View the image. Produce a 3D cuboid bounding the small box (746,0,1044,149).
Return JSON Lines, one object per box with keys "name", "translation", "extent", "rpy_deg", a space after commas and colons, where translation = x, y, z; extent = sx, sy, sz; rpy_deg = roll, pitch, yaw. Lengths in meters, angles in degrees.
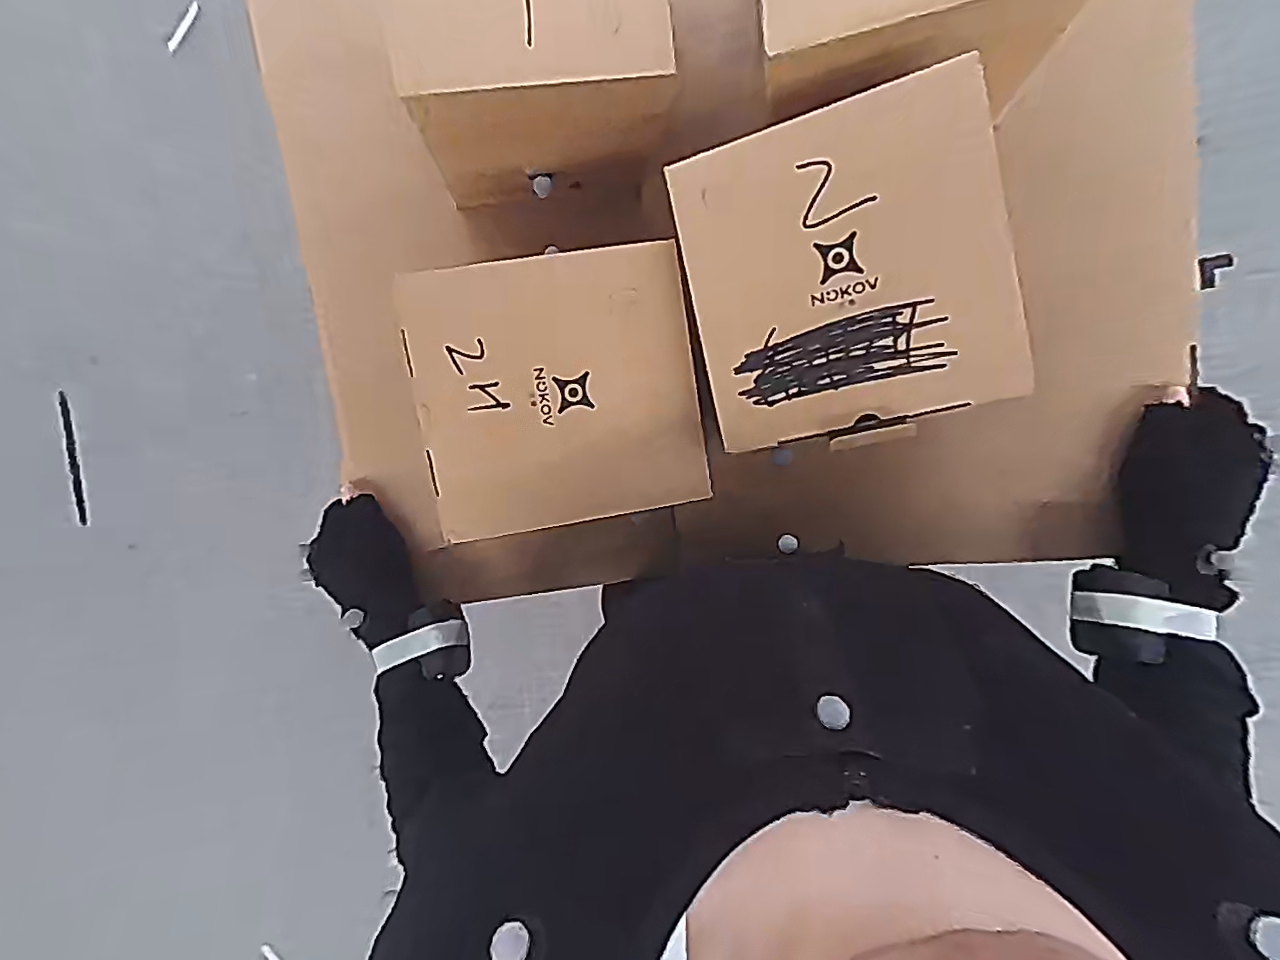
{"name": "small box", "translation": [0.151, -0.341, 0.340], "extent": [0.168, 0.176, 0.179], "rpy_deg": [-5, 96, 15]}
